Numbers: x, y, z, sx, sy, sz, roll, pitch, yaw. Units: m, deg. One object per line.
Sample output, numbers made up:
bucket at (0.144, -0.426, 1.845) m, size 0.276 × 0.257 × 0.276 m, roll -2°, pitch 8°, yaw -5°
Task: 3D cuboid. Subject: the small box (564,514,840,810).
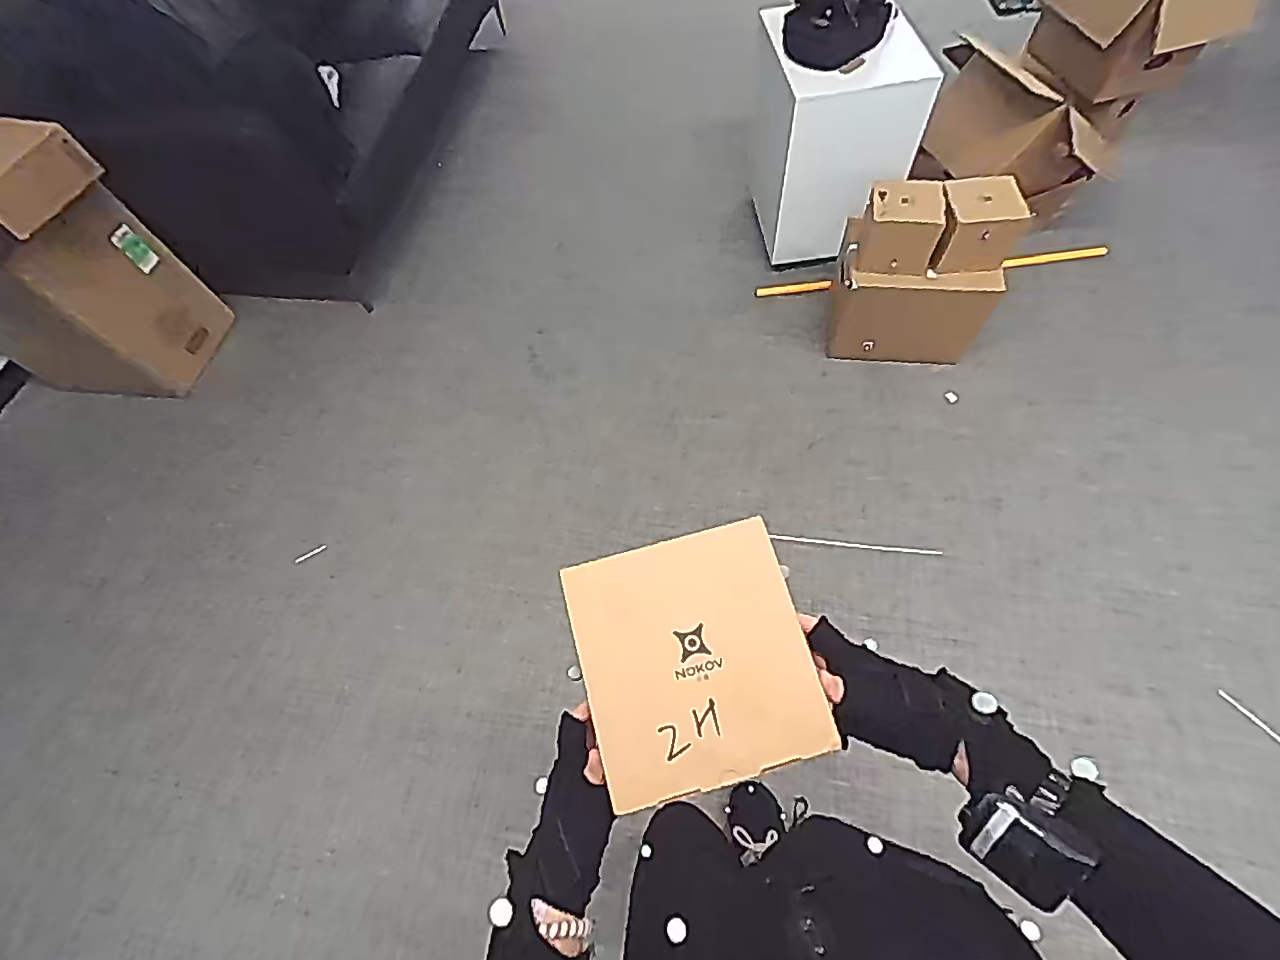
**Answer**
small box at (0.040, 0.148, 0.465) m, size 0.168 × 0.176 × 0.179 m, roll -14°, pitch 73°, yaw -3°
